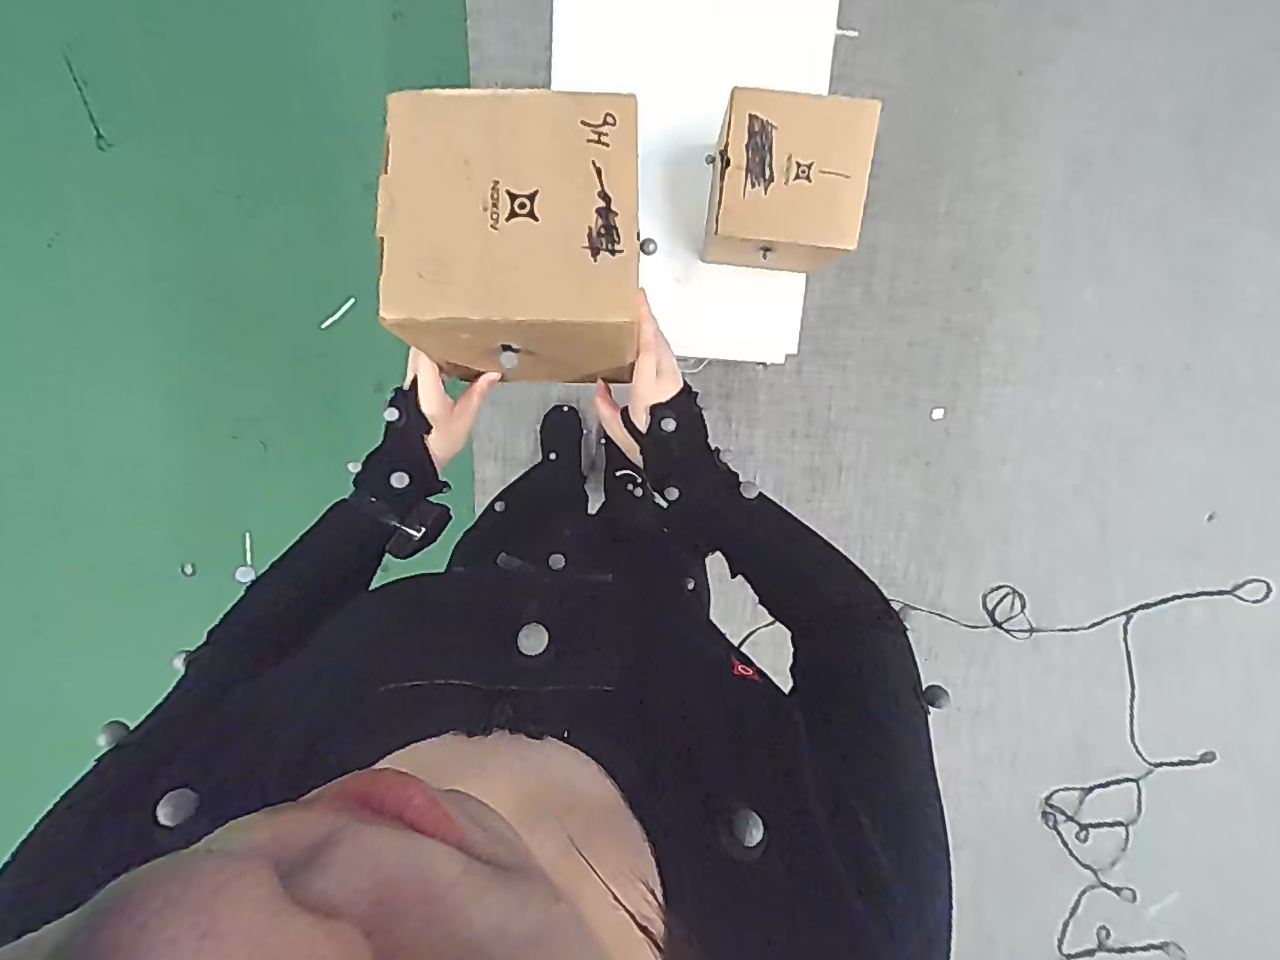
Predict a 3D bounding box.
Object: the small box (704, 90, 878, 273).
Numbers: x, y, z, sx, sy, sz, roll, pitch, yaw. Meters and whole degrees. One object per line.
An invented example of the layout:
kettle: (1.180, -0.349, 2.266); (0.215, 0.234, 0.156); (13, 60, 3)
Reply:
small box: (0.186, -0.384, 0.726); (0.179, 0.176, 0.168); (6, 102, -1)

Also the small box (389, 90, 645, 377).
small box: (-0.086, -0.188, 0.458); (0.179, 0.176, 0.168); (1, 86, 0)
